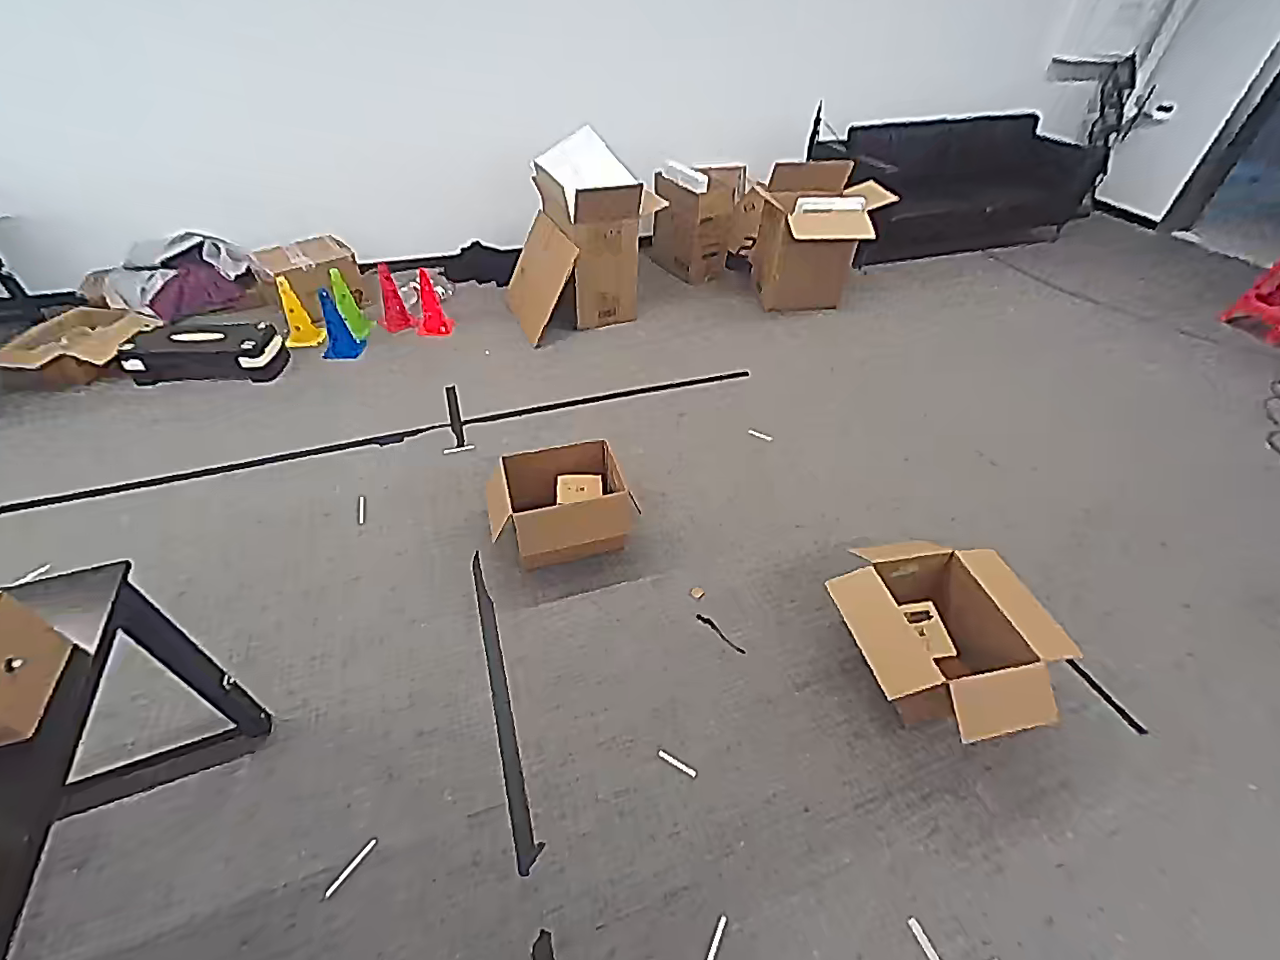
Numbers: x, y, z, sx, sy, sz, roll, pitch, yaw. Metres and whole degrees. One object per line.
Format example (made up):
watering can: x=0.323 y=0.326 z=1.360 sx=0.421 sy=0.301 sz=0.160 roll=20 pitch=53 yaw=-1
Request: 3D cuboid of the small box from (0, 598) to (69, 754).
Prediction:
small box: x=-1.048 y=0.314 z=0.826 sx=0.168 sy=0.176 sz=0.179 roll=-13 pitch=47 yaw=-14
